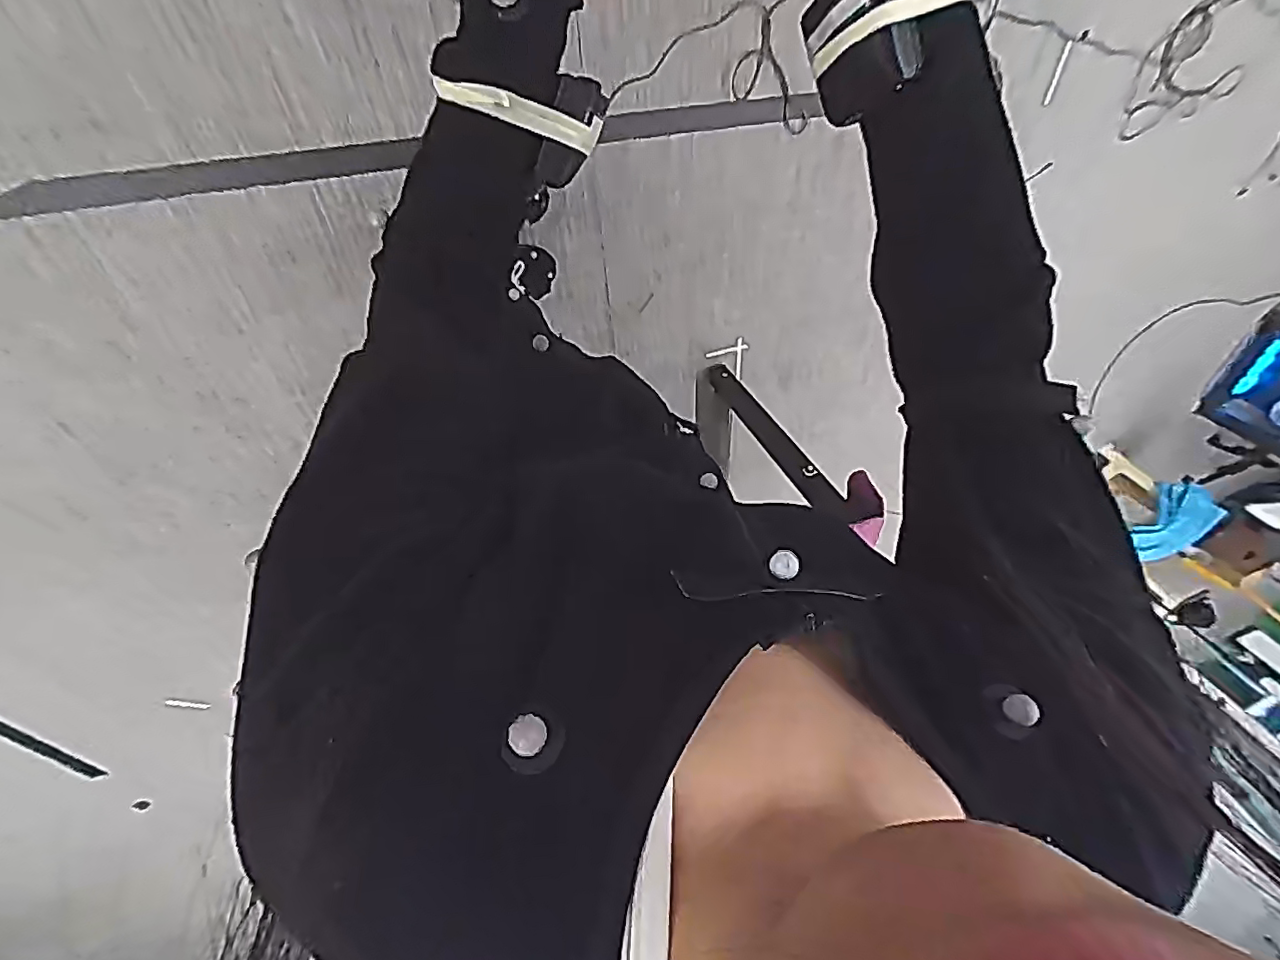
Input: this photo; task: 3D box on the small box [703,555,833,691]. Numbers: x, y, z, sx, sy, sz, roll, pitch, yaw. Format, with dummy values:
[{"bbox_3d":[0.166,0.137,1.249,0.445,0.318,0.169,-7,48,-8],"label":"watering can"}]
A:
[{"bbox_3d":[0.236,0.273,1.050,0.179,0.176,0.168,-13,134,-15],"label":"small box"}]
